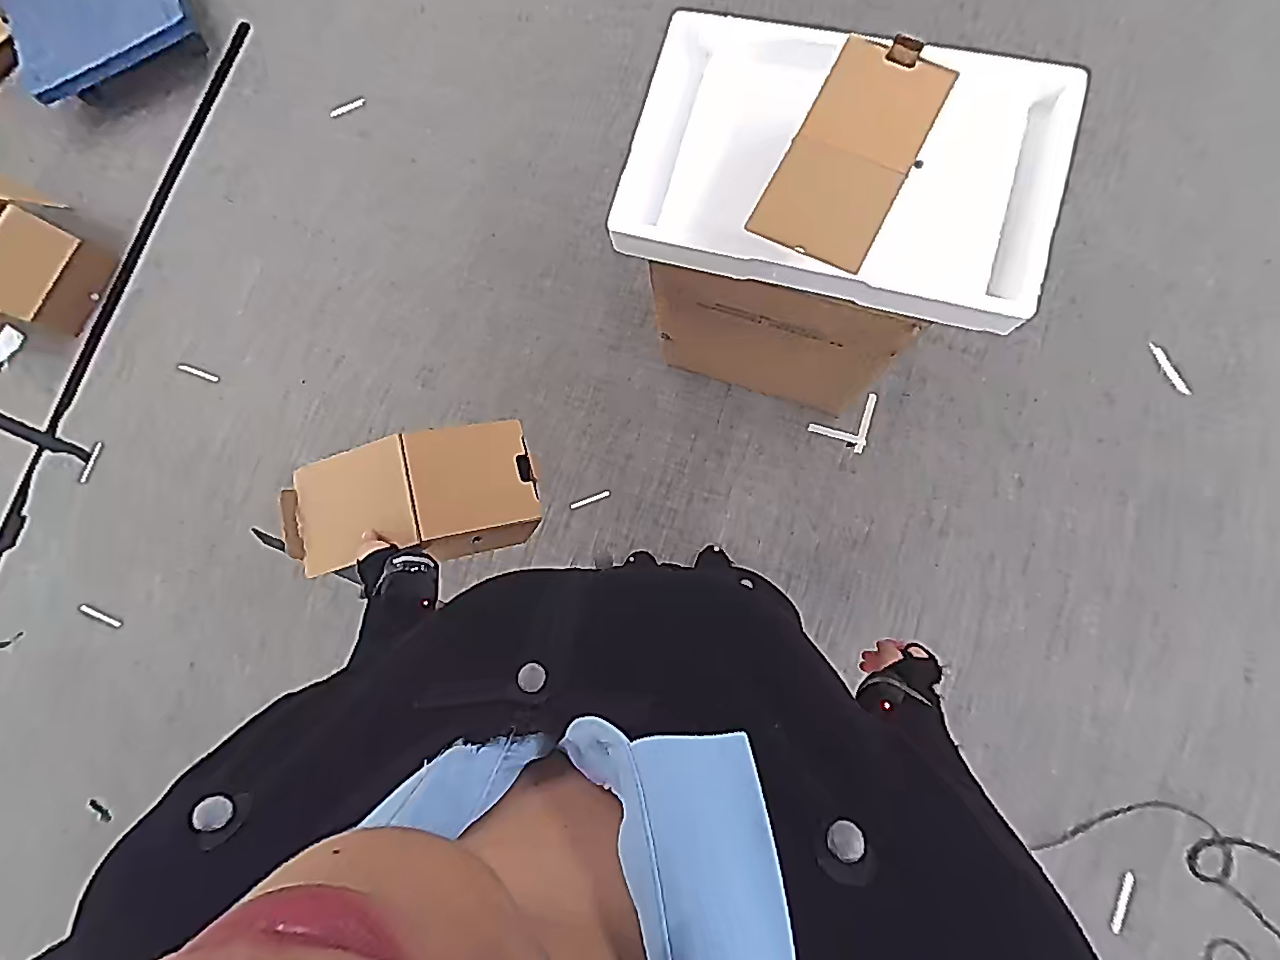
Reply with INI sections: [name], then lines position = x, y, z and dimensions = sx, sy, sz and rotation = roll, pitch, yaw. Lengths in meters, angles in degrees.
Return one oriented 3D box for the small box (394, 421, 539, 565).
[small box]
position = -0.273, 0.025, 0.845
dimensions = 0.179, 0.176, 0.168
rotation = -11, 75, -24
